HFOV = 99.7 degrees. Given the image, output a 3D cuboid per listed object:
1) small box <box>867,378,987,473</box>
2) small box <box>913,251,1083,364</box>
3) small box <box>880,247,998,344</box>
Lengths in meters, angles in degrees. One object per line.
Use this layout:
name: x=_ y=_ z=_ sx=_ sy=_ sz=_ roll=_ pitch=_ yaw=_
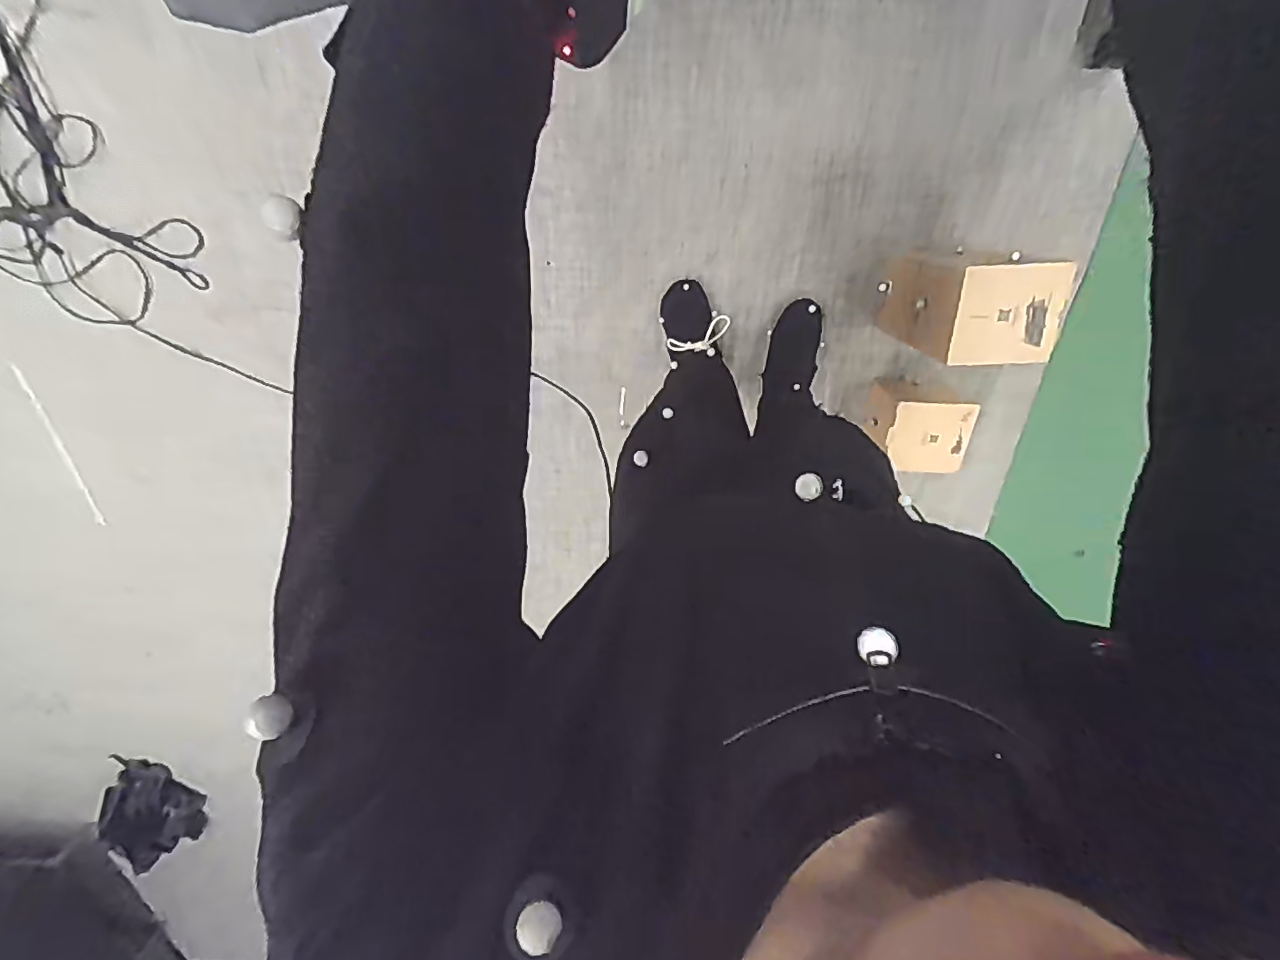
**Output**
small box: x=0.644 y=-0.130 z=1.241 sx=0.179 sy=0.176 sz=0.168 roll=3 pitch=118 yaw=3
small box: x=0.621 y=-0.311 z=0.964 sx=0.179 sy=0.176 sz=0.168 roll=-2 pitch=116 yaw=4
small box: x=0.621 y=-0.384 z=1.112 sx=0.179 sy=0.176 sz=0.168 roll=-2 pitch=116 yaw=4
